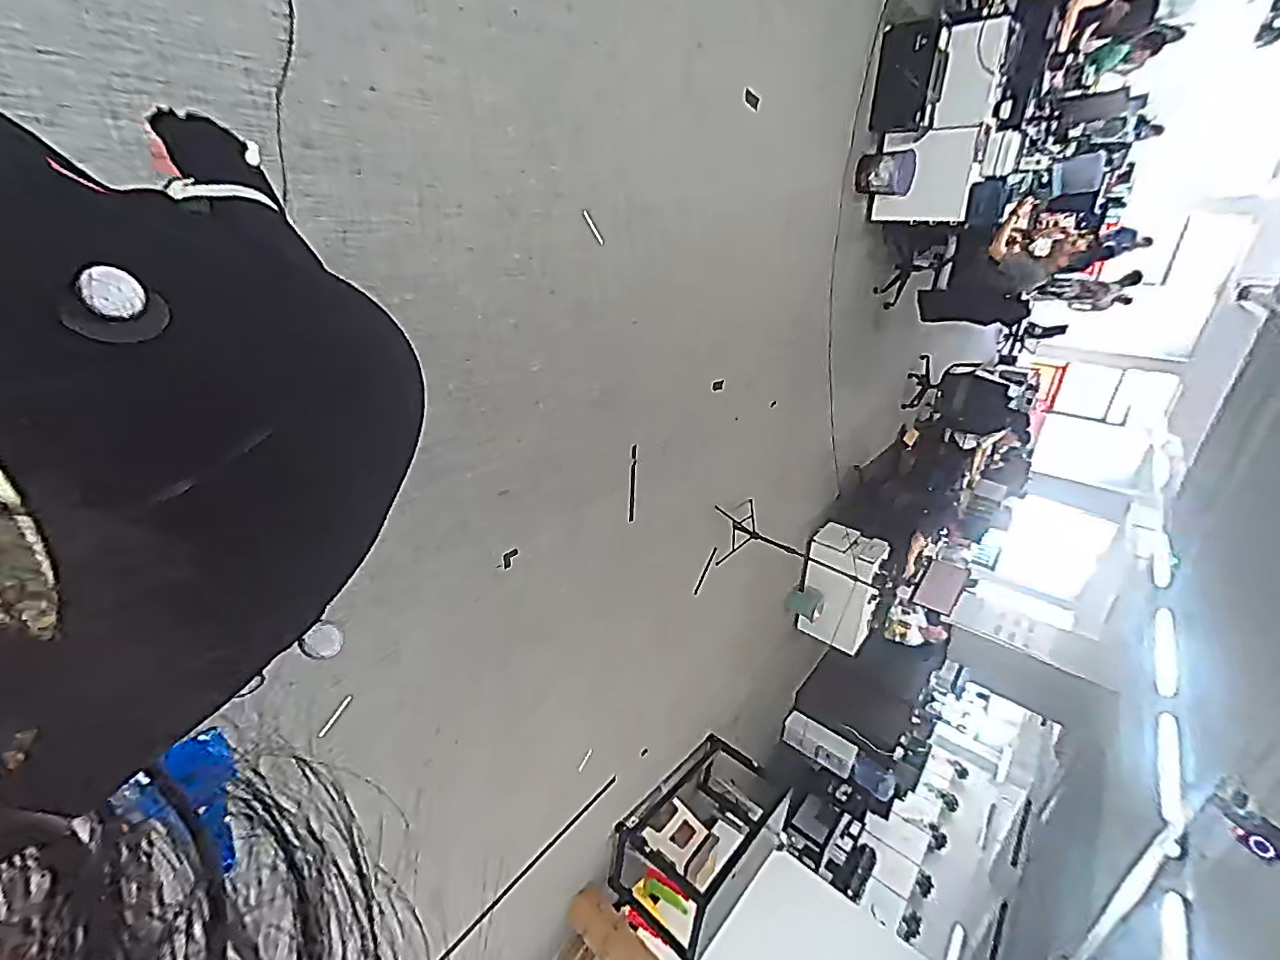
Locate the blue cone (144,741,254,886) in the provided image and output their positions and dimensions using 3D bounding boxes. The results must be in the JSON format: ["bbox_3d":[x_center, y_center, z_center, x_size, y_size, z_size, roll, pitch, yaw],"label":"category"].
[{"bbox_3d":[-1.039,0.846,1.330,0.193,0.380,0.192,-28,127,-44],"label":"blue cone"}]
